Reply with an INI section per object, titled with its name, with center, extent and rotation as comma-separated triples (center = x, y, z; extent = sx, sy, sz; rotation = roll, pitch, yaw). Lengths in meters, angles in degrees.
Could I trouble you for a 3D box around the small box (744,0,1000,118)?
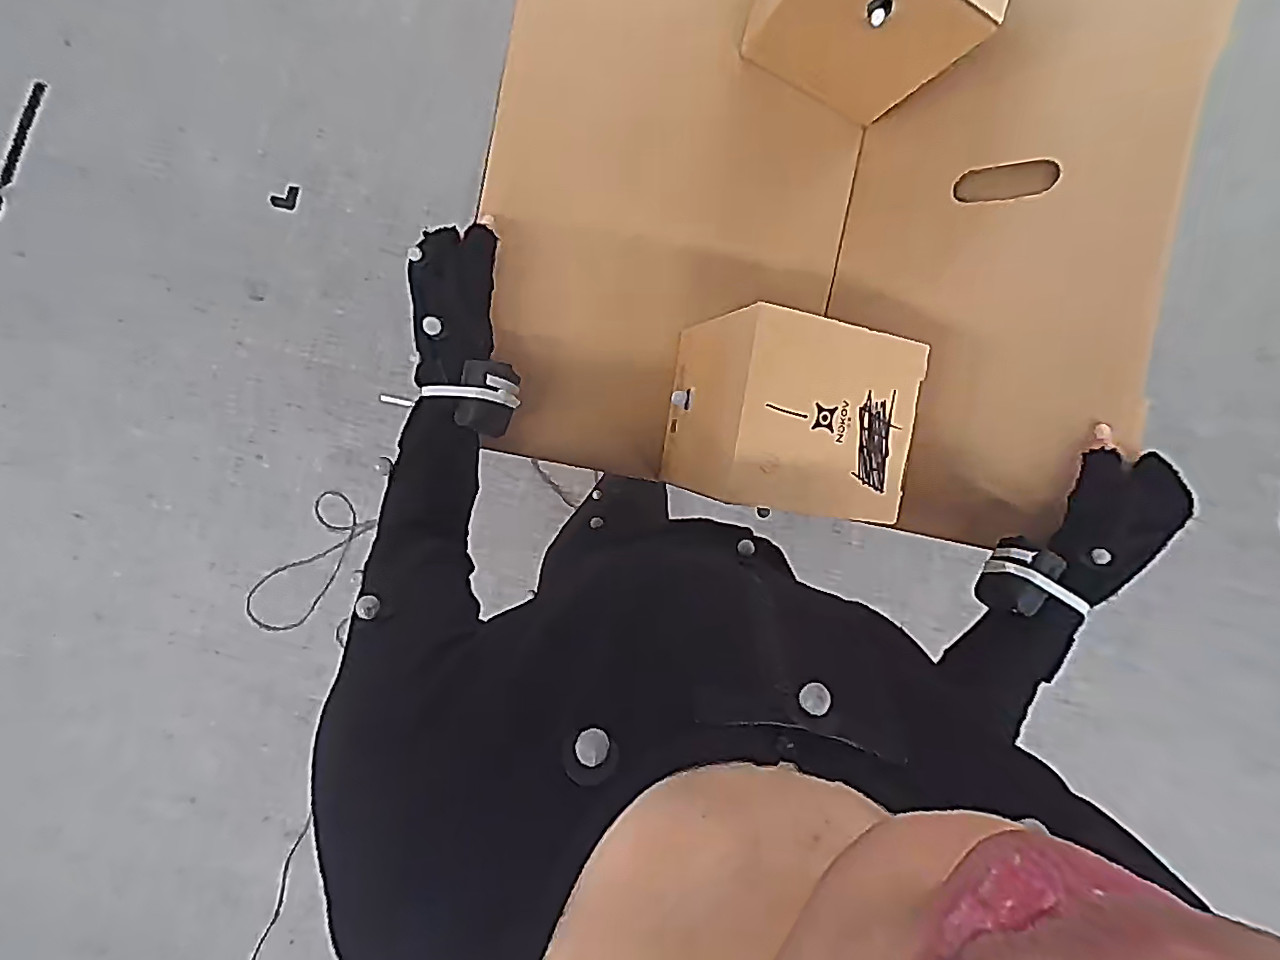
[small box]
center = 0.227, -0.501, 0.526
extent = 0.179, 0.176, 0.168
rotation = 14, 91, -20
